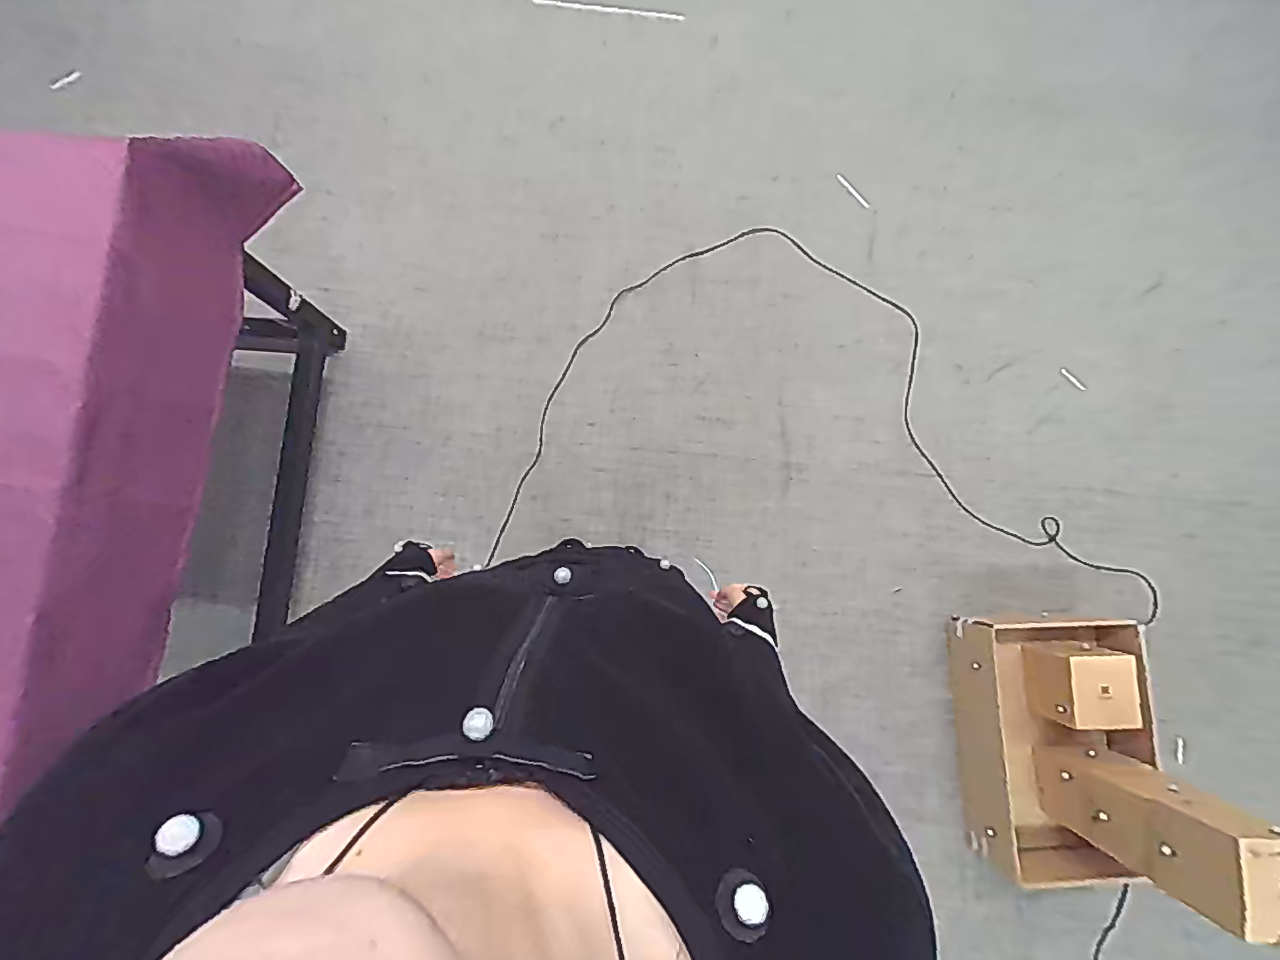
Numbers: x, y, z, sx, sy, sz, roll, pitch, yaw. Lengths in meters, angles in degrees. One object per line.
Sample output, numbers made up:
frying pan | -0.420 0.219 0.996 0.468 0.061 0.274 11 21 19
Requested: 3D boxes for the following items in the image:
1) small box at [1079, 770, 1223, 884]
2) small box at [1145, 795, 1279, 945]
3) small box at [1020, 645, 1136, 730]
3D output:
small box | 1.139 0.767 1.210 0.179 0.176 0.168 1 83 -2
small box | 1.132 0.746 1.045 0.168 0.176 0.179 5 83 -2
small box | 1.124 0.530 1.401 0.168 0.176 0.179 -1 85 -1
